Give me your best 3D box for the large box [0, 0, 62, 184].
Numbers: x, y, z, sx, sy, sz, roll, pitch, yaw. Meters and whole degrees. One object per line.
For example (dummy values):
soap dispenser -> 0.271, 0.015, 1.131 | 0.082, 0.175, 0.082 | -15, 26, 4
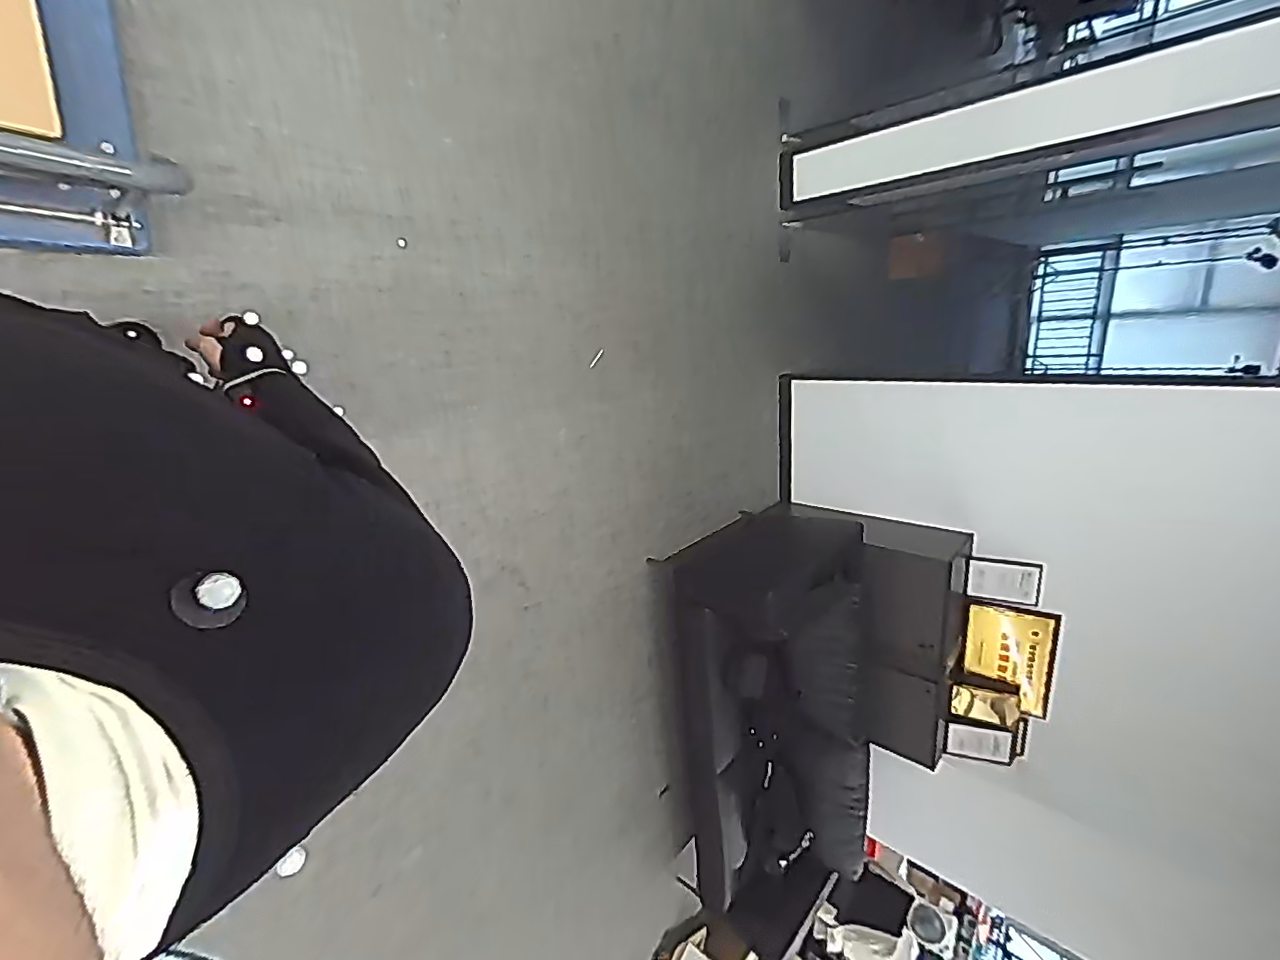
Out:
large box -> -1.058, -0.682, 0.736 | 0.320, 0.320, 0.408 | -13, 107, -46
